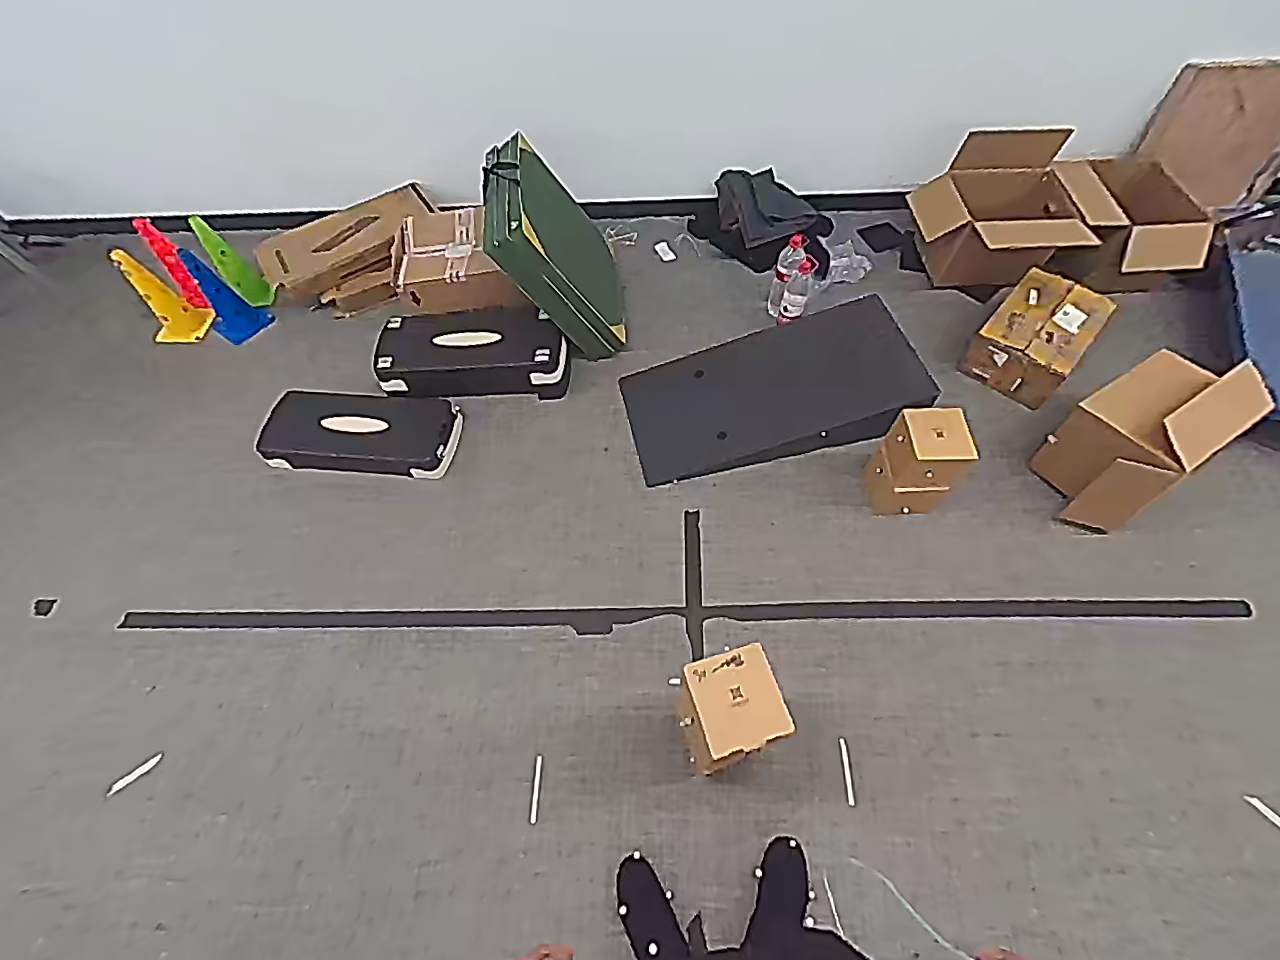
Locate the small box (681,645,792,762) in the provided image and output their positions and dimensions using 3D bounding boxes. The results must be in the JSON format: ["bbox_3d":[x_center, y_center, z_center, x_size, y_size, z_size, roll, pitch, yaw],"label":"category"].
[{"bbox_3d":[0.187,0.460,1.104,0.168,0.176,0.179,-15,61,-7],"label":"small box"}]
